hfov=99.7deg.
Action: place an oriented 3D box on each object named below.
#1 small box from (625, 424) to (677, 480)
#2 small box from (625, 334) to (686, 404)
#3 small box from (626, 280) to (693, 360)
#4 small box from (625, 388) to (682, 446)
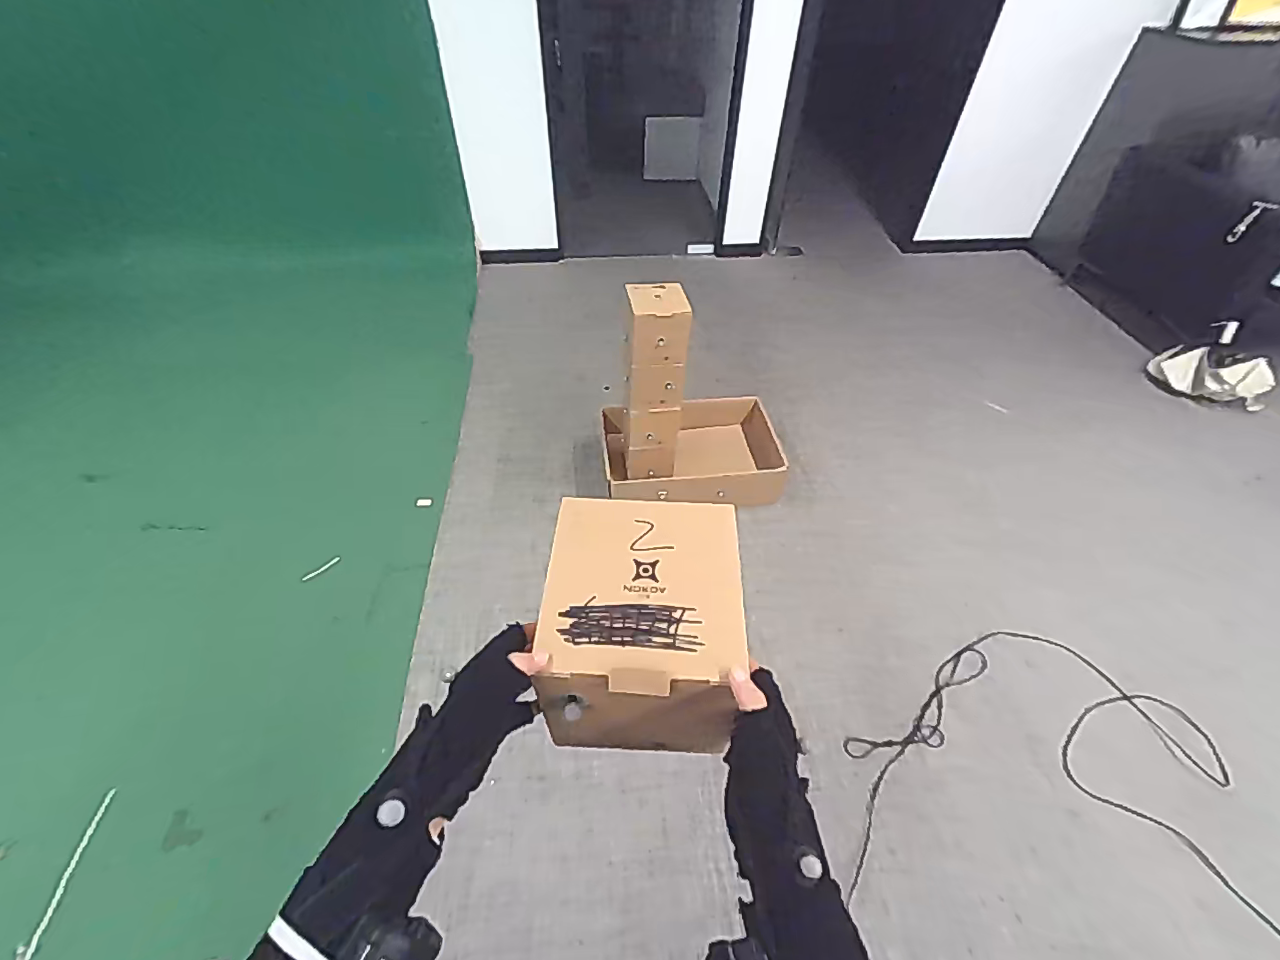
[{"bbox_3d":[0.034,-0.120,1.932,0.168,0.176,0.179,-3,47,-5],"label":"small box"},{"bbox_3d":[0.043,-0.350,1.701,0.168,0.176,0.179,-4,47,-8],"label":"small box"},{"bbox_3d":[0.051,-0.465,1.585,0.168,0.176,0.179,-4,48,-9],"label":"small box"},{"bbox_3d":[0.040,-0.233,1.815,0.168,0.176,0.179,-3,47,-6],"label":"small box"}]
